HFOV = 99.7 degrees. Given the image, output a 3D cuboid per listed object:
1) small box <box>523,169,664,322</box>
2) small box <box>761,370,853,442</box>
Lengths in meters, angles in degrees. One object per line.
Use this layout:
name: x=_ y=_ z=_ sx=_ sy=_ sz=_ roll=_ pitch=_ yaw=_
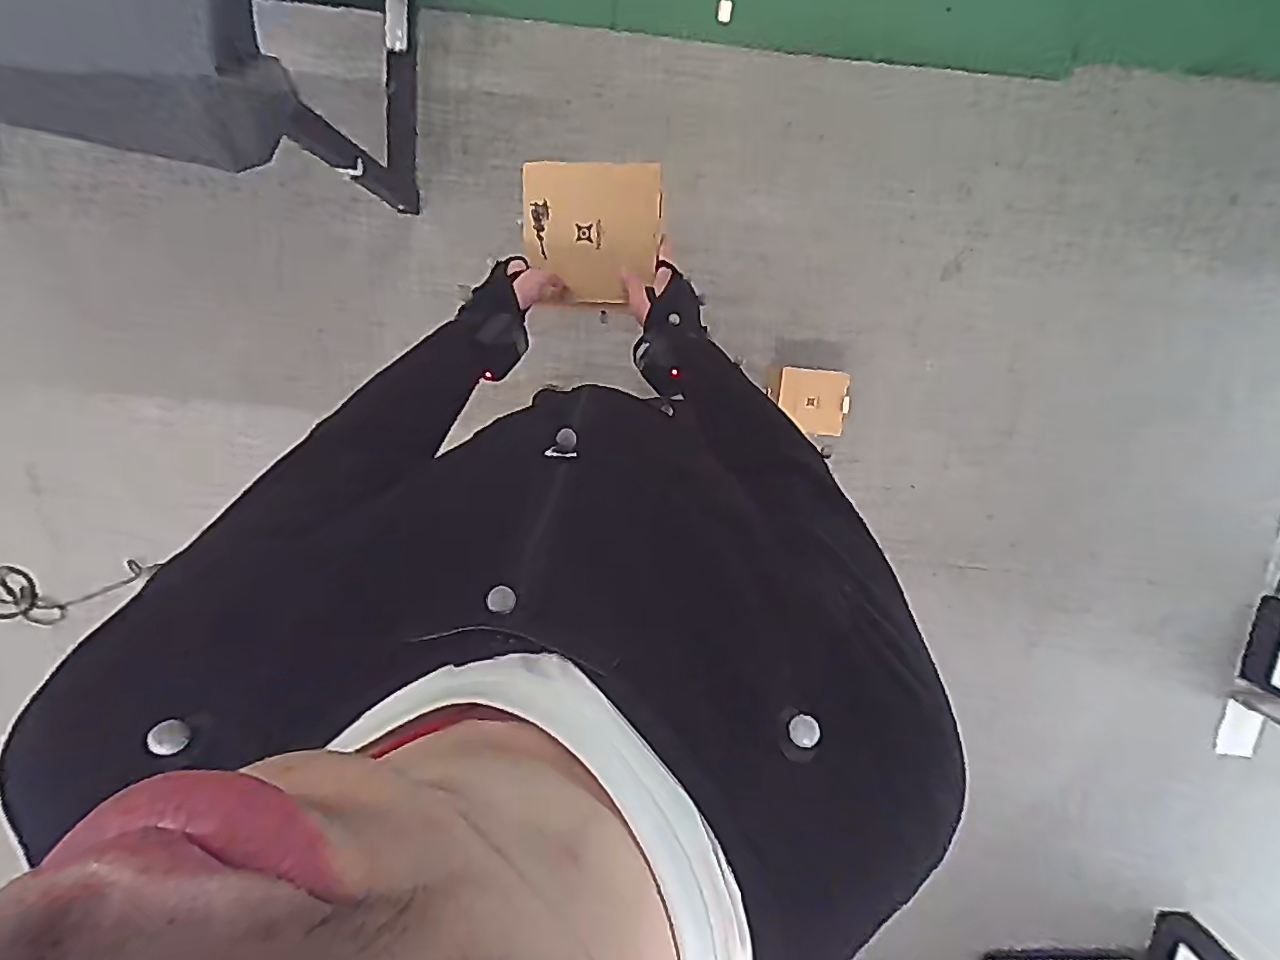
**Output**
small box: x=-0.058 y=-0.317 z=0.761 sx=0.179 sy=0.176 sz=0.168 roll=4 pitch=102 yaw=2
small box: x=0.441 y=-0.201 z=1.455 sx=0.179 sy=0.176 sz=0.168 roll=8 pitch=99 yaw=-2
